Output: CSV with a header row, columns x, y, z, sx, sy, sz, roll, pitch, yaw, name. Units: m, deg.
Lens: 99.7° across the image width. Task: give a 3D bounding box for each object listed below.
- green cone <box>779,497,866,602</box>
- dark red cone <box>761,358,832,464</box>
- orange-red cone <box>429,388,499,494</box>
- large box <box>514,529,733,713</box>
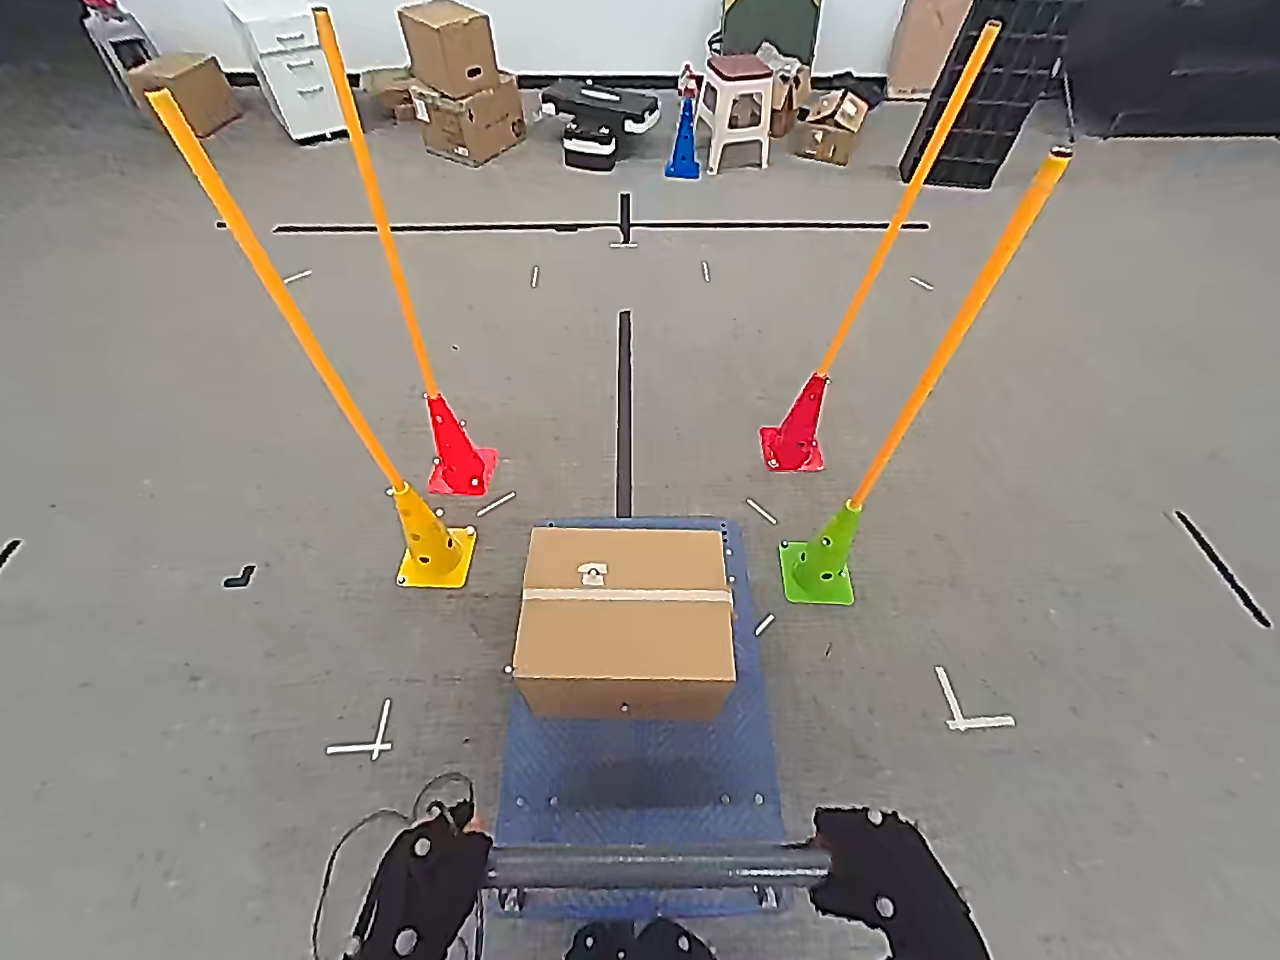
x,y,z,sx,sy,sz,roll,pitch,yaw,name
0.531,0.167,1.487,0.202,0.368,0.200,4,53,0,green cone
0.542,-0.232,1.762,0.201,0.394,0.202,1,54,-3,dark red cone
-0.586,-0.146,1.693,0.198,0.360,0.199,6,52,2,orange-red cone
-0.029,0.316,1.183,0.408,0.320,0.320,1,54,0,large box
